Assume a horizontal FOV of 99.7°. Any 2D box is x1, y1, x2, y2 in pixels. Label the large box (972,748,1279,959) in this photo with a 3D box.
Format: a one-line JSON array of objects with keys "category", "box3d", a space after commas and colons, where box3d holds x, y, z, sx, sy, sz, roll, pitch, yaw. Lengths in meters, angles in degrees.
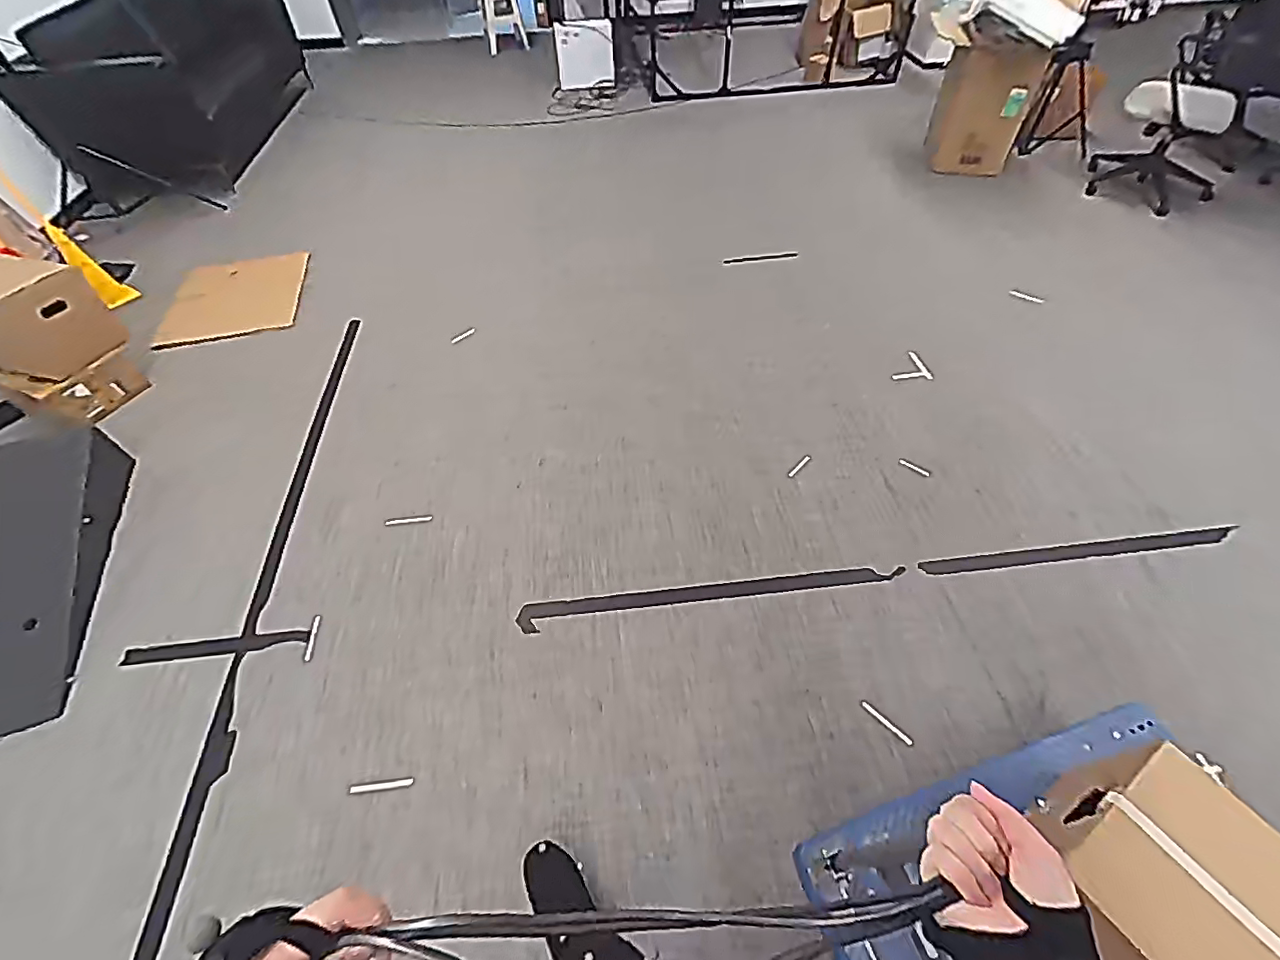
[{"category": "large box", "box3d": [0.853, 0.724, 0.855, 0.320, 0.320, 0.408, -29, 57, -19]}]
